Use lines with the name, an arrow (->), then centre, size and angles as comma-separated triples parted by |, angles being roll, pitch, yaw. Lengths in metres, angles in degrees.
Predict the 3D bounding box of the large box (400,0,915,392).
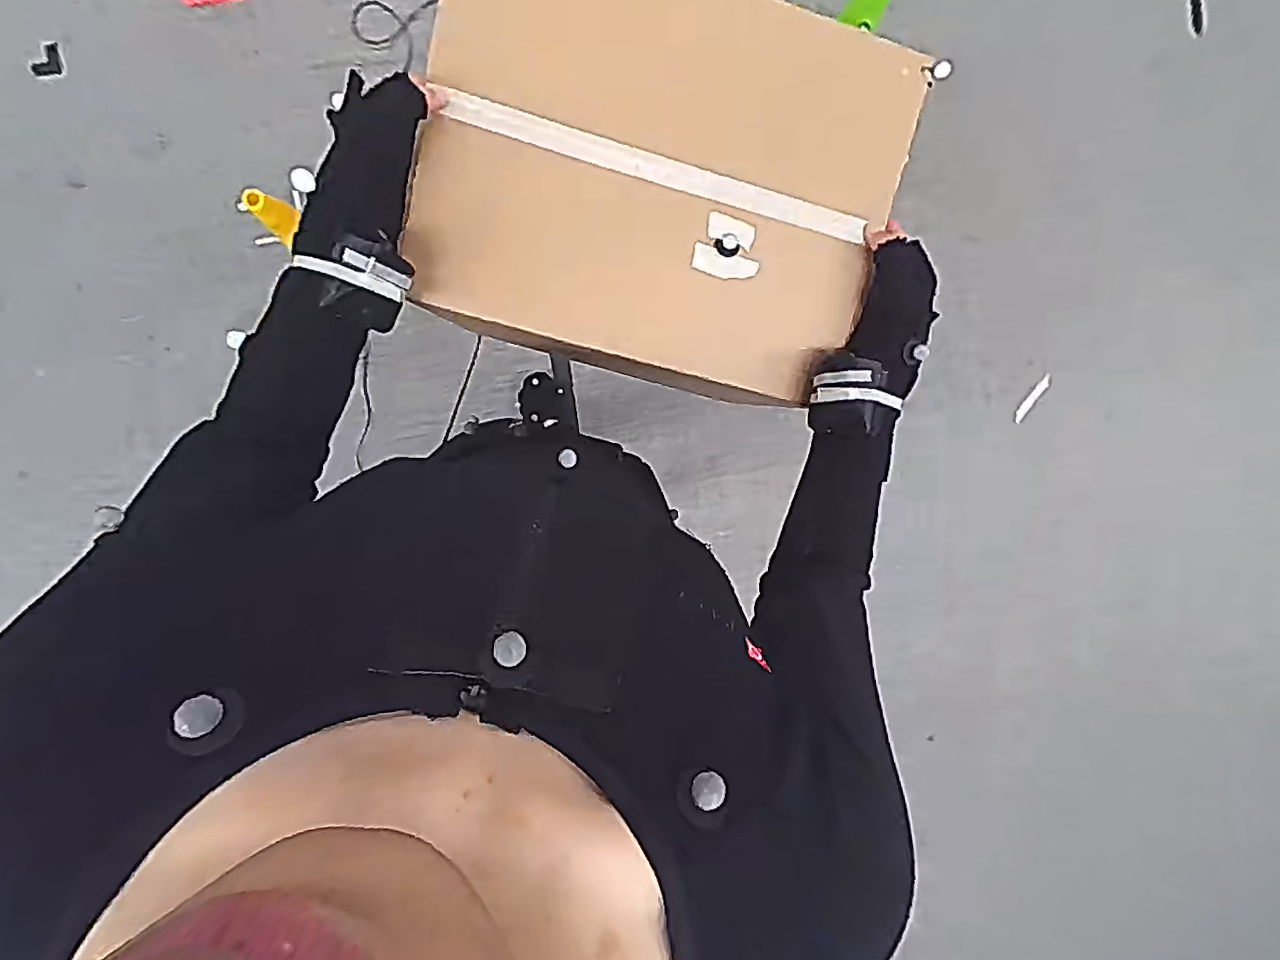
large box -> 0.001, -0.294, 0.611 | 0.408, 0.320, 0.320 | 12, 98, -8
